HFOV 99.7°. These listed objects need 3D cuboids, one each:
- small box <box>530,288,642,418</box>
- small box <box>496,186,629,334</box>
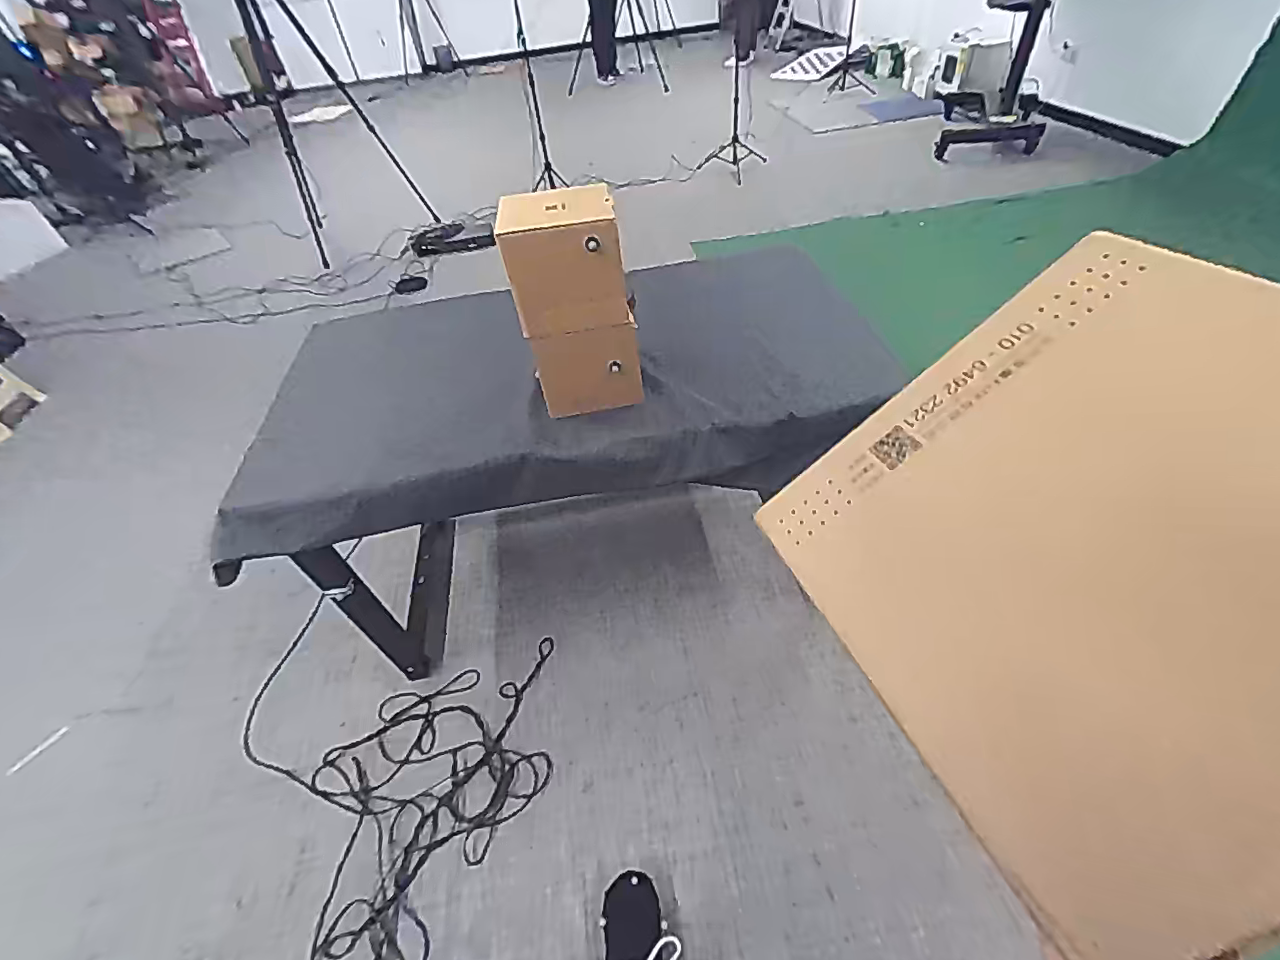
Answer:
[{"bbox_3d":[-0.095,-0.236,0.984,0.179,0.176,0.168,-11,45,-2],"label":"small box"},{"bbox_3d":[-0.119,-0.351,0.871,0.179,0.176,0.168,-9,44,-2],"label":"small box"}]
